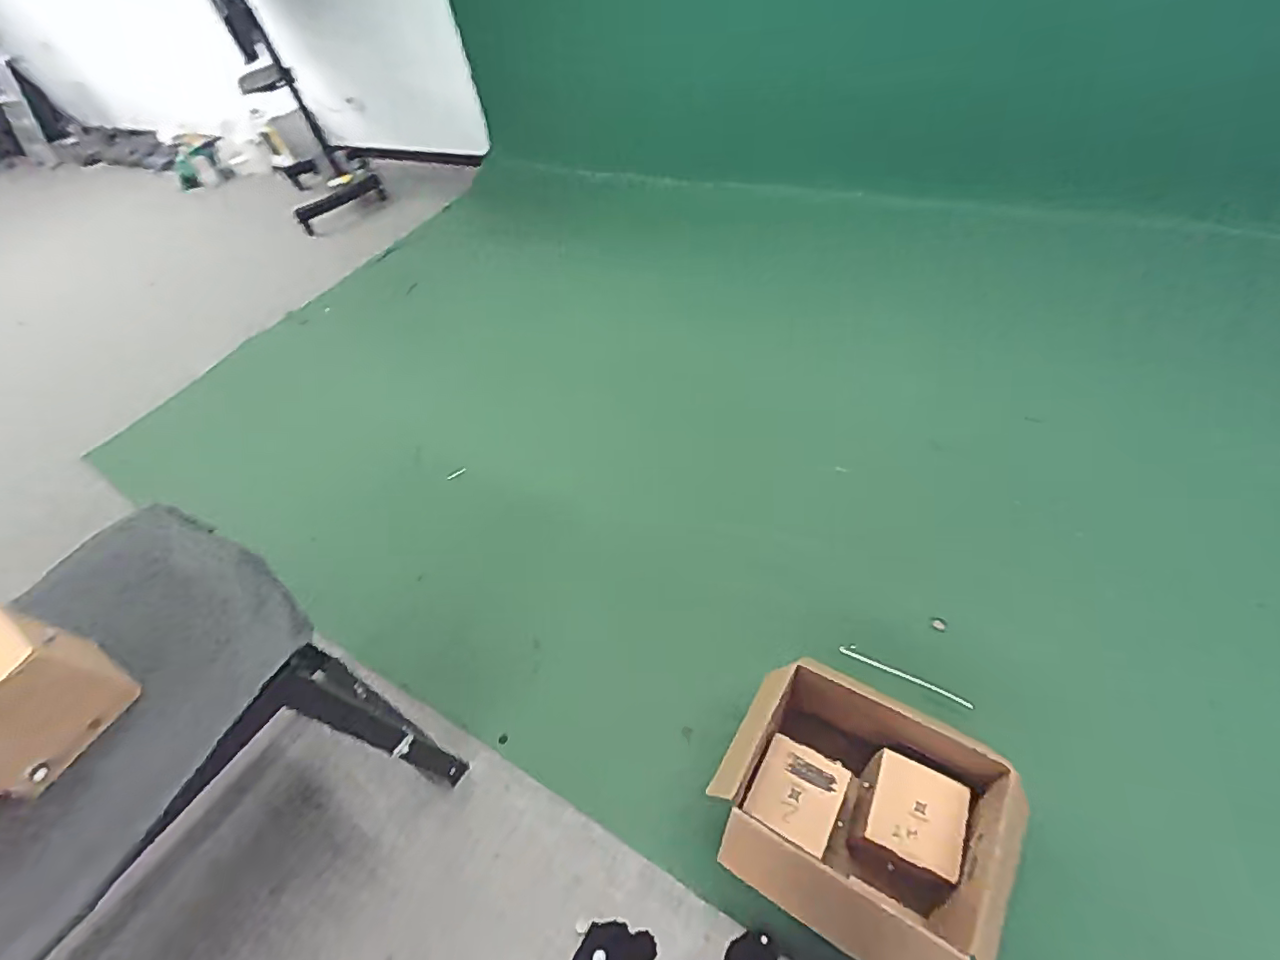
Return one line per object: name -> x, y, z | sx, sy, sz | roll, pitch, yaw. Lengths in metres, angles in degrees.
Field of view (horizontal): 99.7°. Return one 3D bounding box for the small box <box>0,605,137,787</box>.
small box -> -0.888, 0.308, 0.767 | 0.179, 0.176, 0.168 | 18, 57, 25
